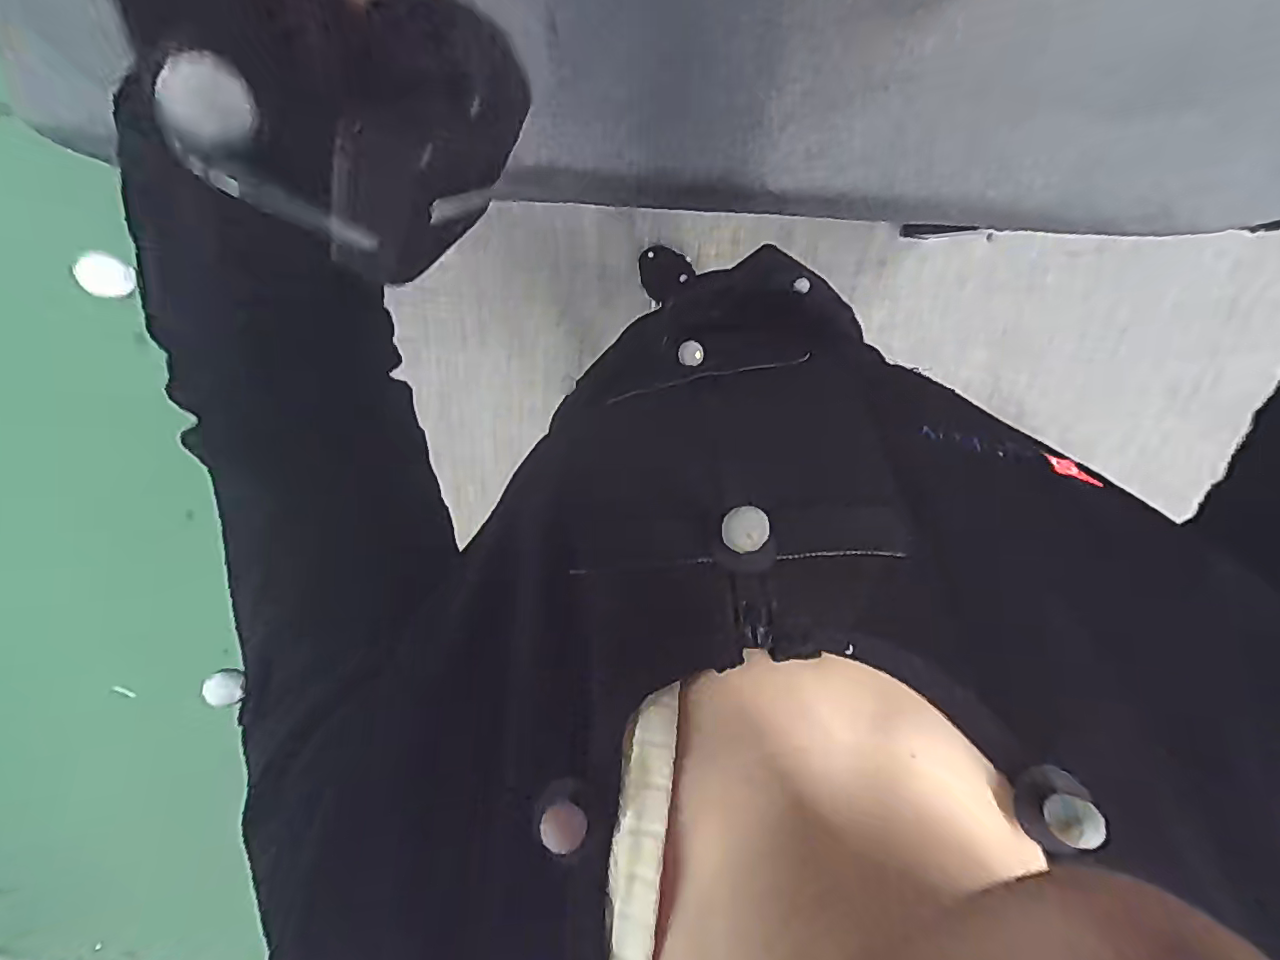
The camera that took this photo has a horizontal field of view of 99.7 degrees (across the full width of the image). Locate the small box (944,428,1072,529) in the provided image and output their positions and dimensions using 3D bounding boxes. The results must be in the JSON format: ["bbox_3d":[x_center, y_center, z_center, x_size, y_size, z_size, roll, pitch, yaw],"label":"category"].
[{"bbox_3d":[0.860,-0.008,1.288,0.168,0.176,0.179,7,114,0],"label":"small box"}]
